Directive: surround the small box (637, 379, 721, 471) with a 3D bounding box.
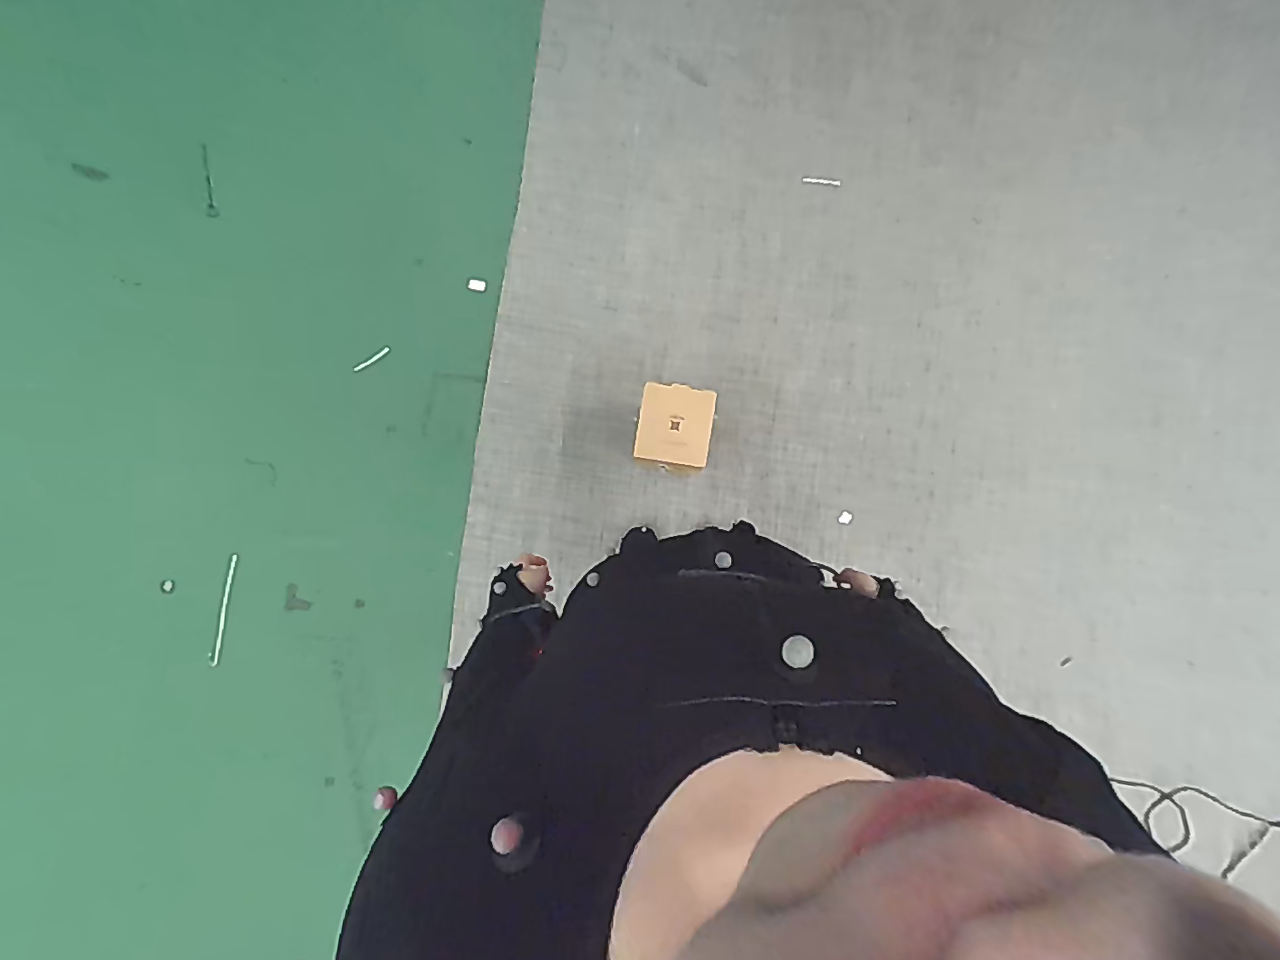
[{"bbox_3d":[0.089,-0.123,1.271,0.168,0.176,0.179,9,88,4],"label":"small box"}]
